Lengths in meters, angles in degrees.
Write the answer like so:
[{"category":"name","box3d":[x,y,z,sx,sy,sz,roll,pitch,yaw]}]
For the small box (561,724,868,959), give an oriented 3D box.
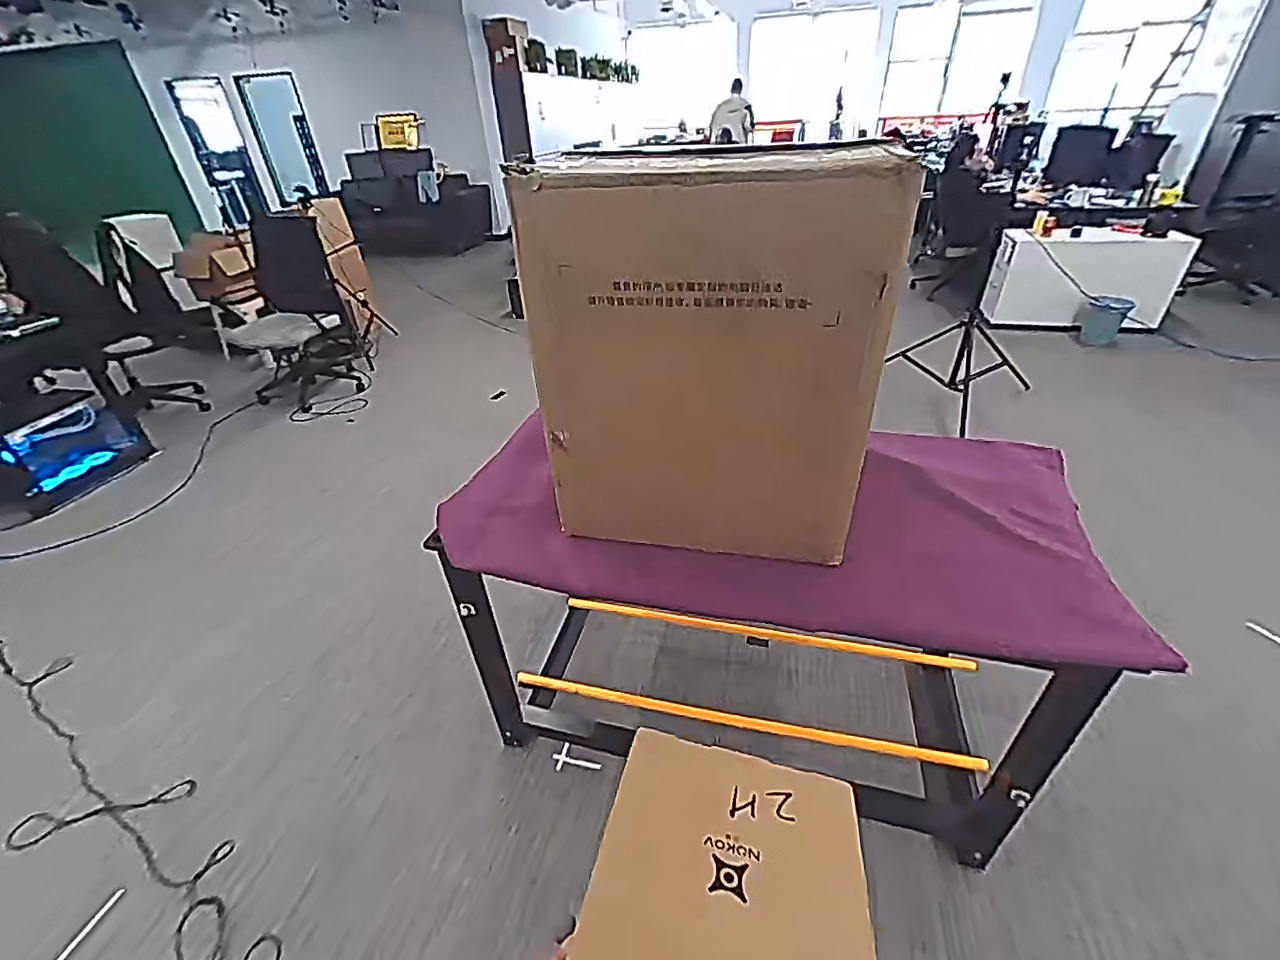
[{"category":"small box","box3d":[0.048,0.314,0.373,0.168,0.176,0.179,10,23,10]}]
